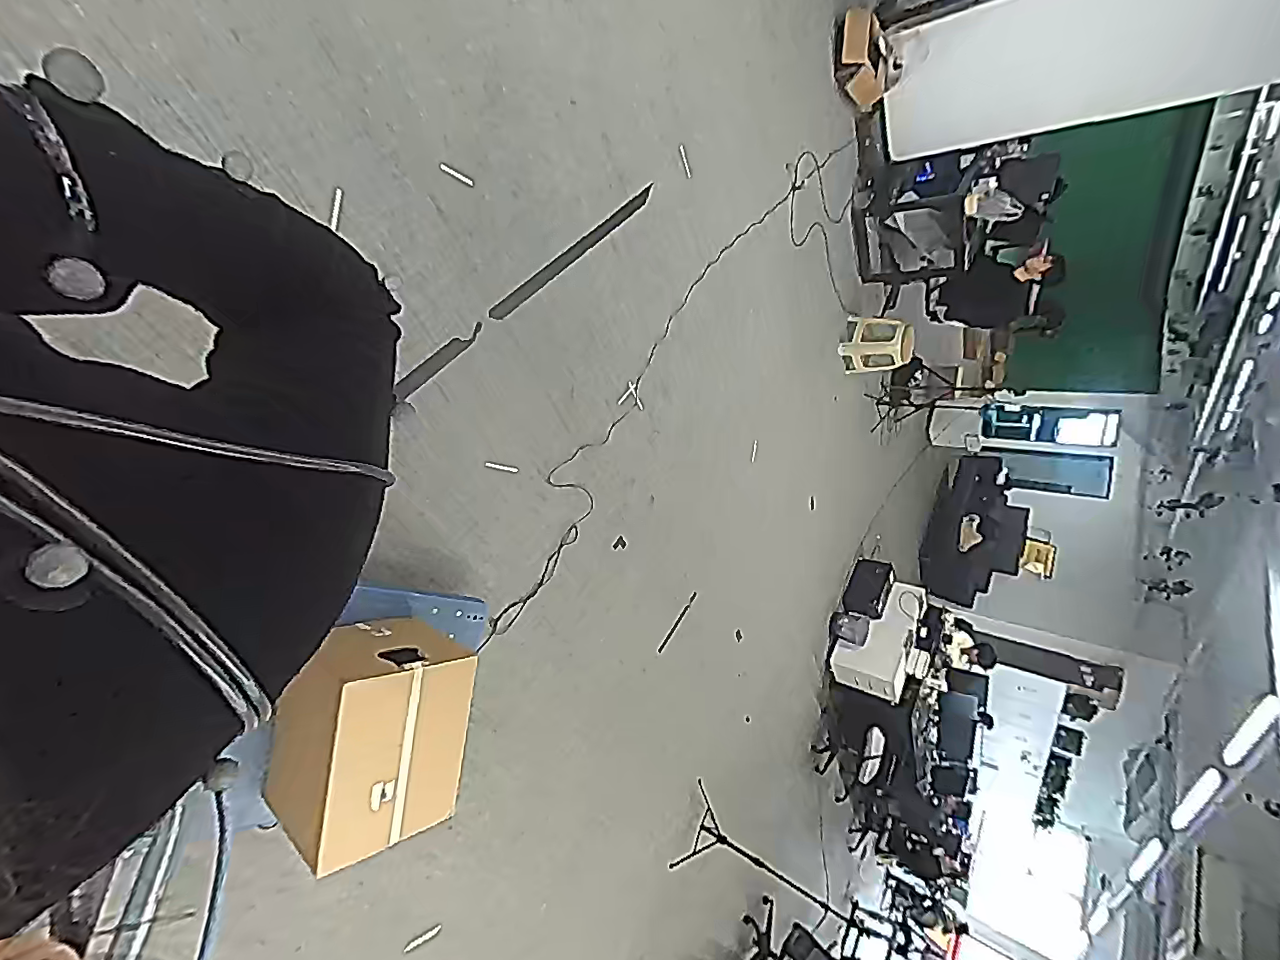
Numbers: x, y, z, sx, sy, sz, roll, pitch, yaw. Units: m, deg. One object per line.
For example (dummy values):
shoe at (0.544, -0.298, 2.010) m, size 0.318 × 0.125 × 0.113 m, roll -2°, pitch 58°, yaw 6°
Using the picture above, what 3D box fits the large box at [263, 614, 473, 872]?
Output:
large box at (-0.636, 0.570, 1.268) m, size 0.320 × 0.320 × 0.408 m, roll 7°, pitch 93°, yaw -51°
